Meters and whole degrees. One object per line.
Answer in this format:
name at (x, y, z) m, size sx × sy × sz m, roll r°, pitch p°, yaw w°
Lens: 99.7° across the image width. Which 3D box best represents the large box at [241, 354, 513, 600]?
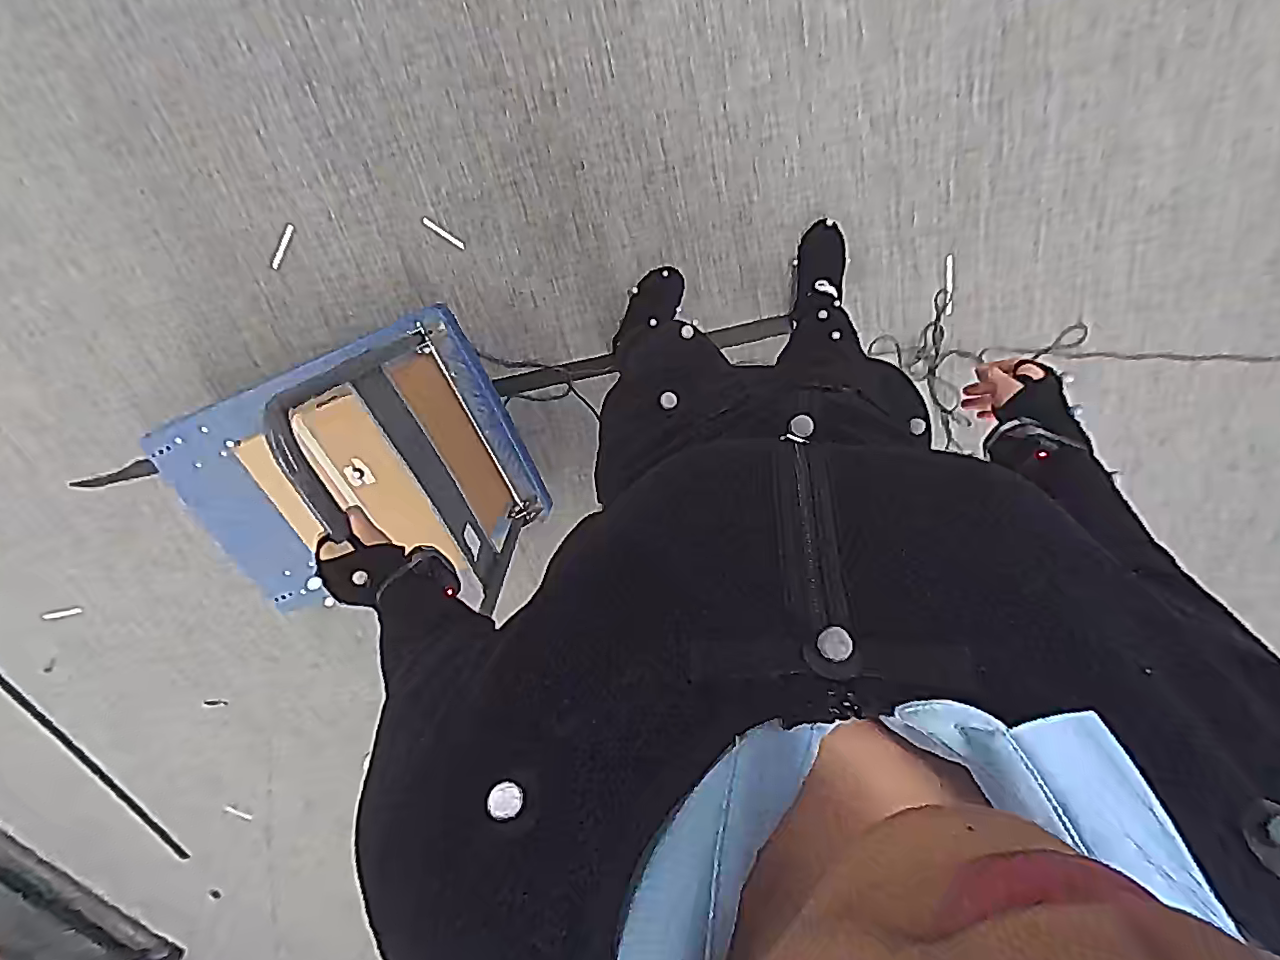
large box at (-0.539, -0.014, 1.206) m, size 0.320 × 0.320 × 0.408 m, roll -20°, pitch 112°, yaw 9°
